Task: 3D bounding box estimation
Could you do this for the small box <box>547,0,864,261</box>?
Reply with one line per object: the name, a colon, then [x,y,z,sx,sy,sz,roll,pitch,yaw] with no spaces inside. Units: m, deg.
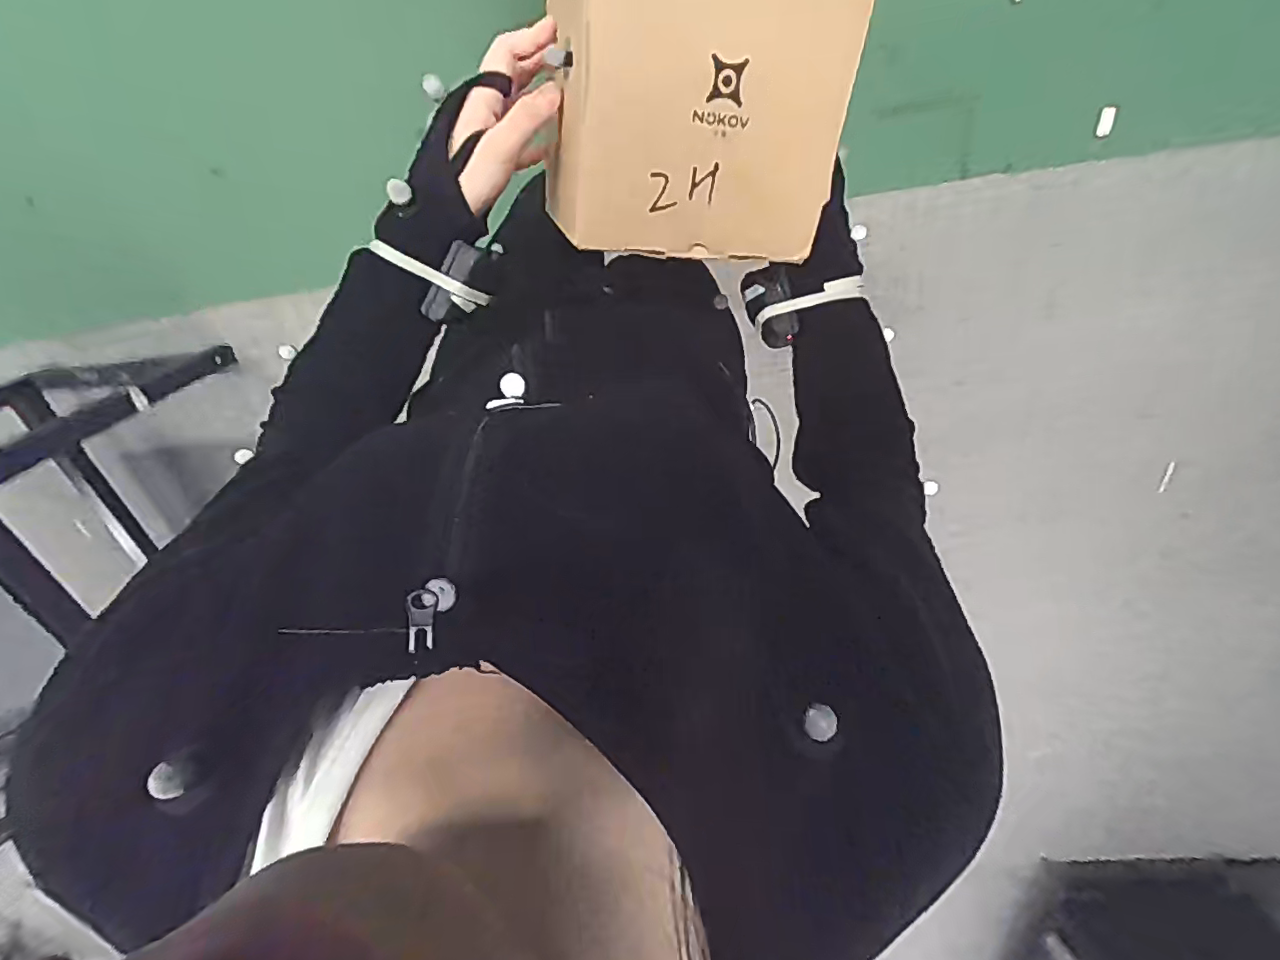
small box: [0.025,-0.268,0.385,0.168,0.176,0.179,-3,124,-15]
